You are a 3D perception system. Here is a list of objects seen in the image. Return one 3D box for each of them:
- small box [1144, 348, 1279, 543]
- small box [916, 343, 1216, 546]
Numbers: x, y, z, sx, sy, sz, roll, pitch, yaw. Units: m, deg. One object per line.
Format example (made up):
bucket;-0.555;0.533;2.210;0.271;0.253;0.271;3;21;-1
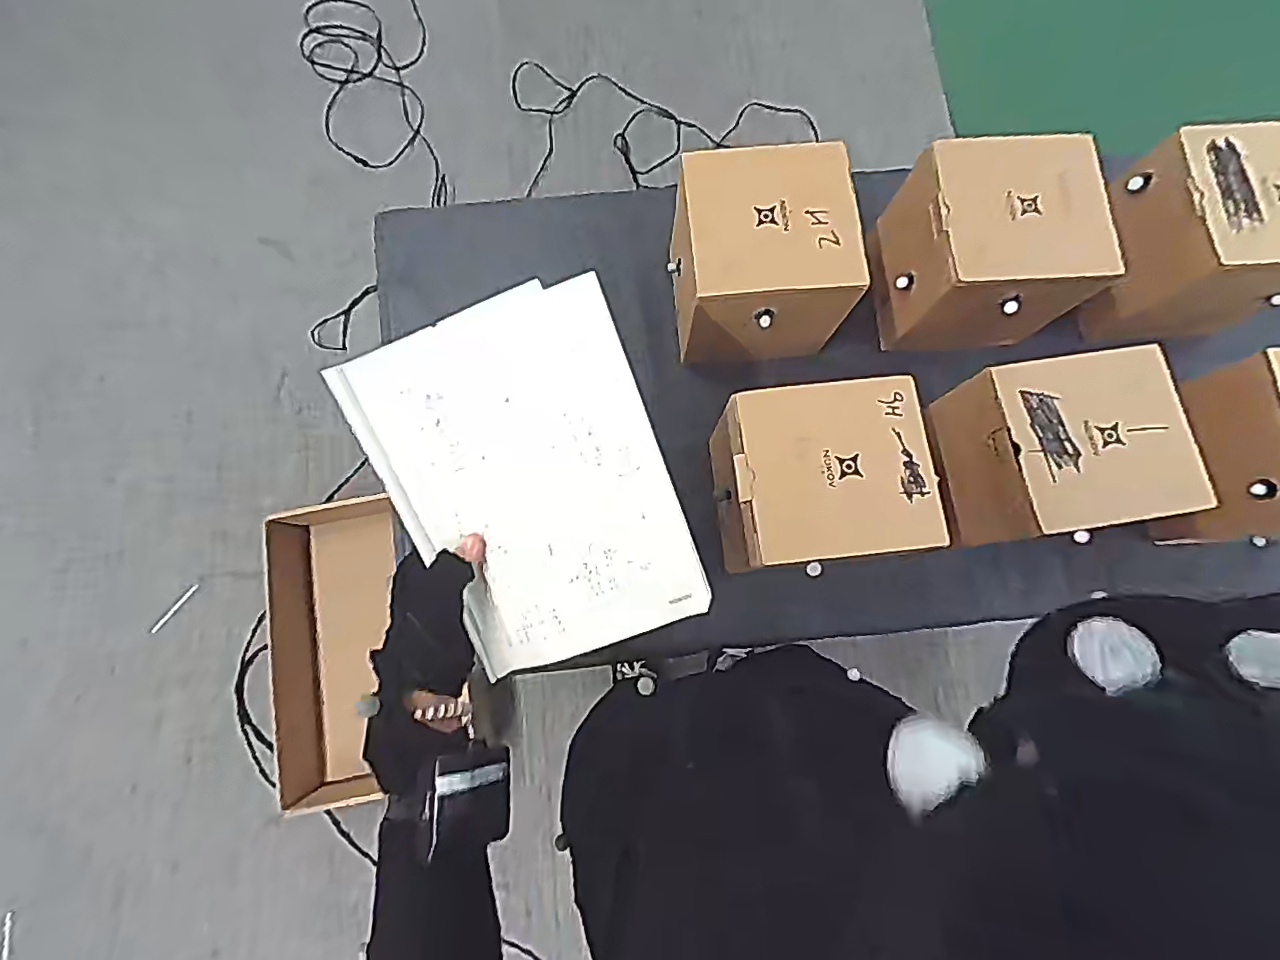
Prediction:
small box;0.687;-0.029;0.589;0.168;0.176;0.179;-2;78;-1
small box;0.426;-0.026;0.581;0.179;0.176;0.168;-8;78;-4
